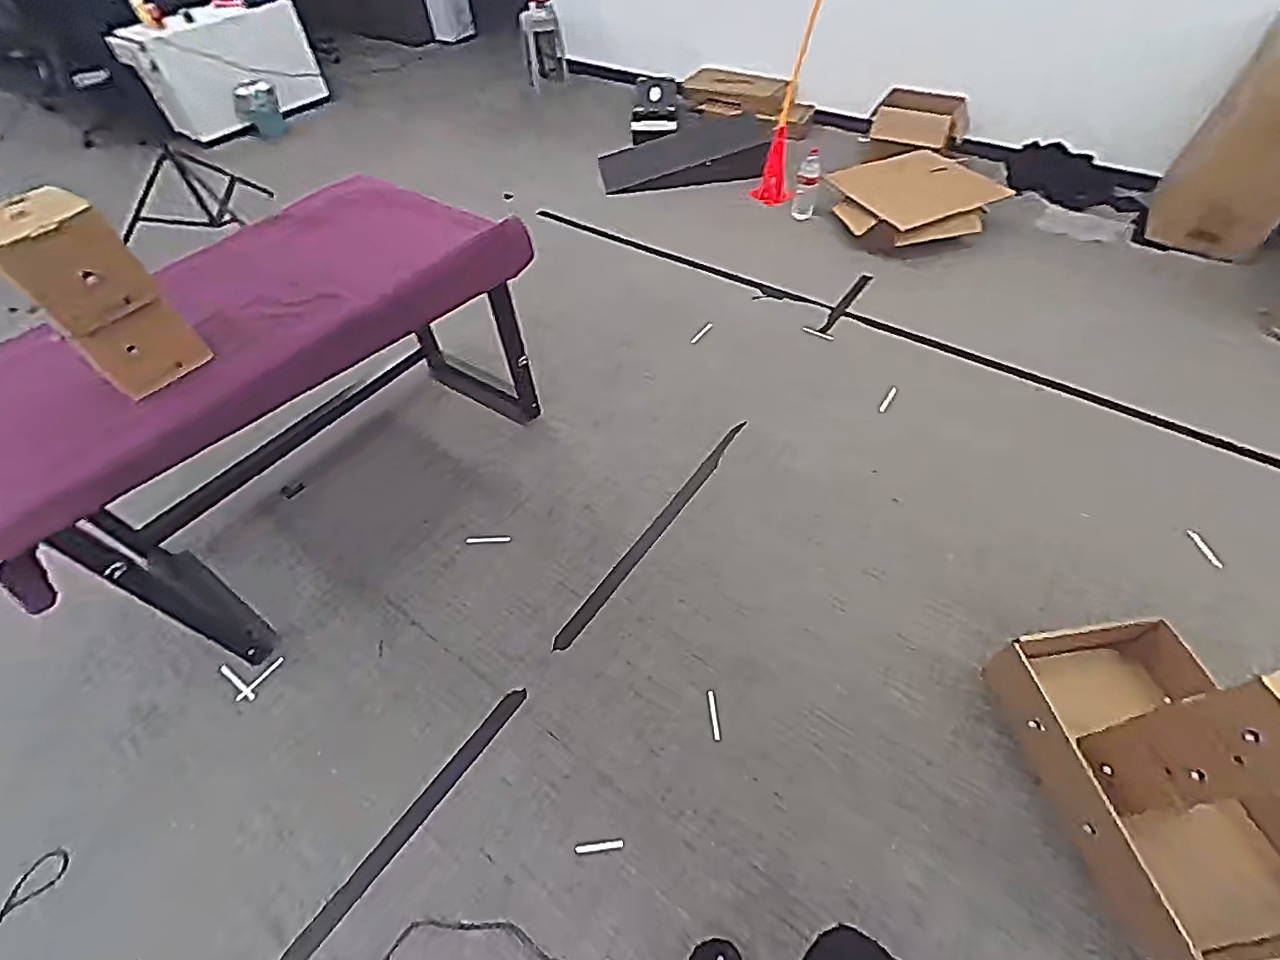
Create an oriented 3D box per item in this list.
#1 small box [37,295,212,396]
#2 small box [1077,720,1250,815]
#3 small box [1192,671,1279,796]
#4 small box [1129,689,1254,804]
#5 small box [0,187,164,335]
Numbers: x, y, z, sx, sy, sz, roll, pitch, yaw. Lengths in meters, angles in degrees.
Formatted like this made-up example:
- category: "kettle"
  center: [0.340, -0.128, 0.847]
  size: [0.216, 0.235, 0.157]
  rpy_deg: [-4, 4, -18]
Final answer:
- category: "small box"
  center: [-1.038, -0.297, 1.106]
  size: [0.179, 0.176, 0.168]
  rpy_deg: [28, 59, 22]
- category: "small box"
  center: [1.130, 0.622, 1.186]
  size: [0.179, 0.176, 0.168]
  rpy_deg: [-8, 53, -3]
- category: "small box"
  center: [1.122, 0.425, 0.925]
  size: [0.179, 0.176, 0.168]
  rpy_deg: [-11, 55, -6]
- category: "small box"
  center: [1.128, 0.520, 1.062]
  size: [0.179, 0.176, 0.168]
  rpy_deg: [-10, 54, -8]
- category: "small box"
  center: [-1.022, -0.386, 0.967]
  size: [0.179, 0.176, 0.168]
  rpy_deg: [27, 58, 21]
